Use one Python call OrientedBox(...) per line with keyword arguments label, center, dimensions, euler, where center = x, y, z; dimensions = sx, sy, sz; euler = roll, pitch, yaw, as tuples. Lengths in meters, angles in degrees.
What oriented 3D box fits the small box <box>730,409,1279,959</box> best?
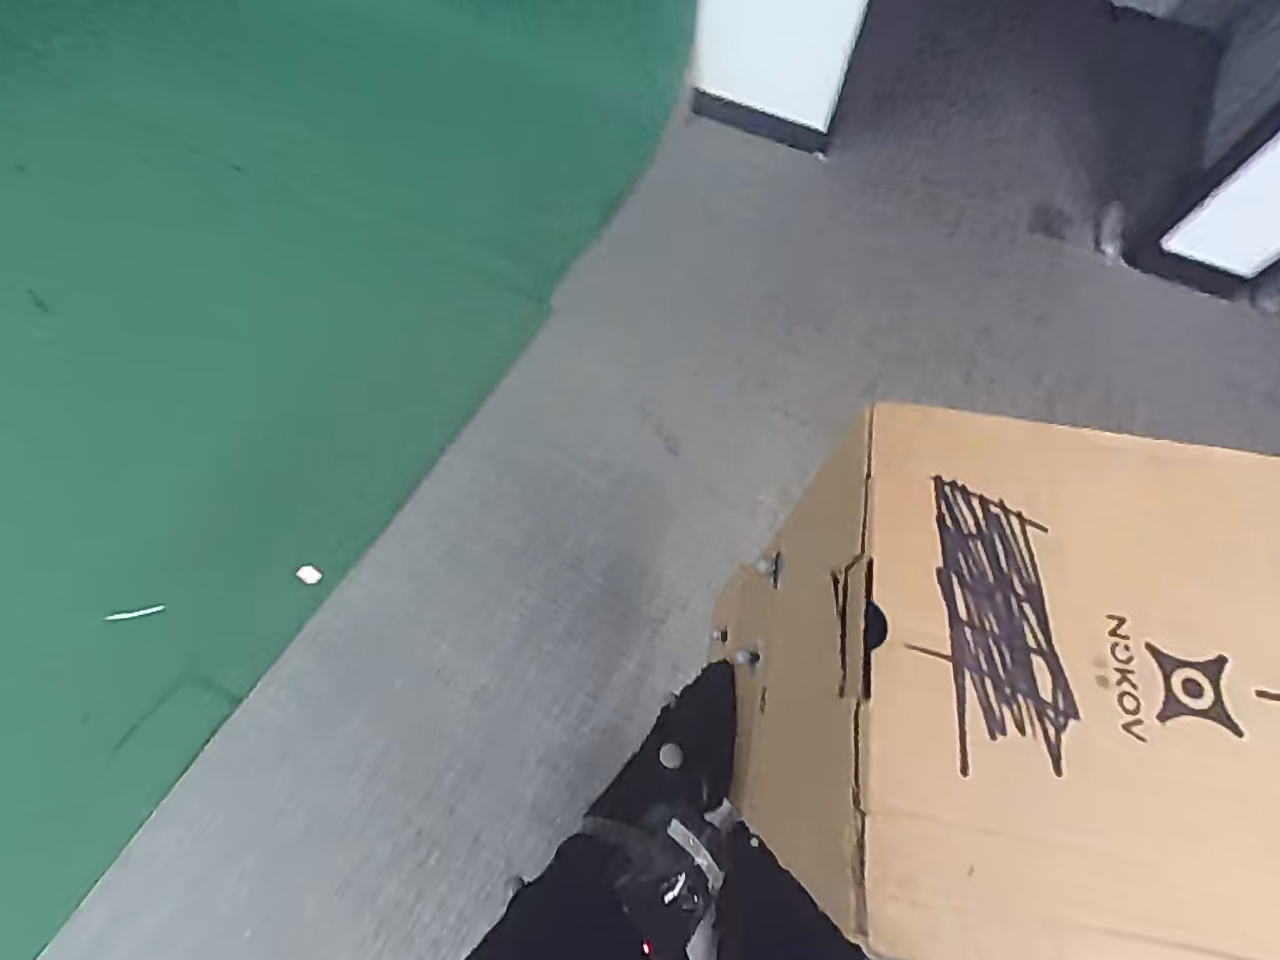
OrientedBox(label="small box", center=(0.145, 0.089, 0.251), dimensions=(0.179, 0.176, 0.168), euler=(10, 69, 4))
